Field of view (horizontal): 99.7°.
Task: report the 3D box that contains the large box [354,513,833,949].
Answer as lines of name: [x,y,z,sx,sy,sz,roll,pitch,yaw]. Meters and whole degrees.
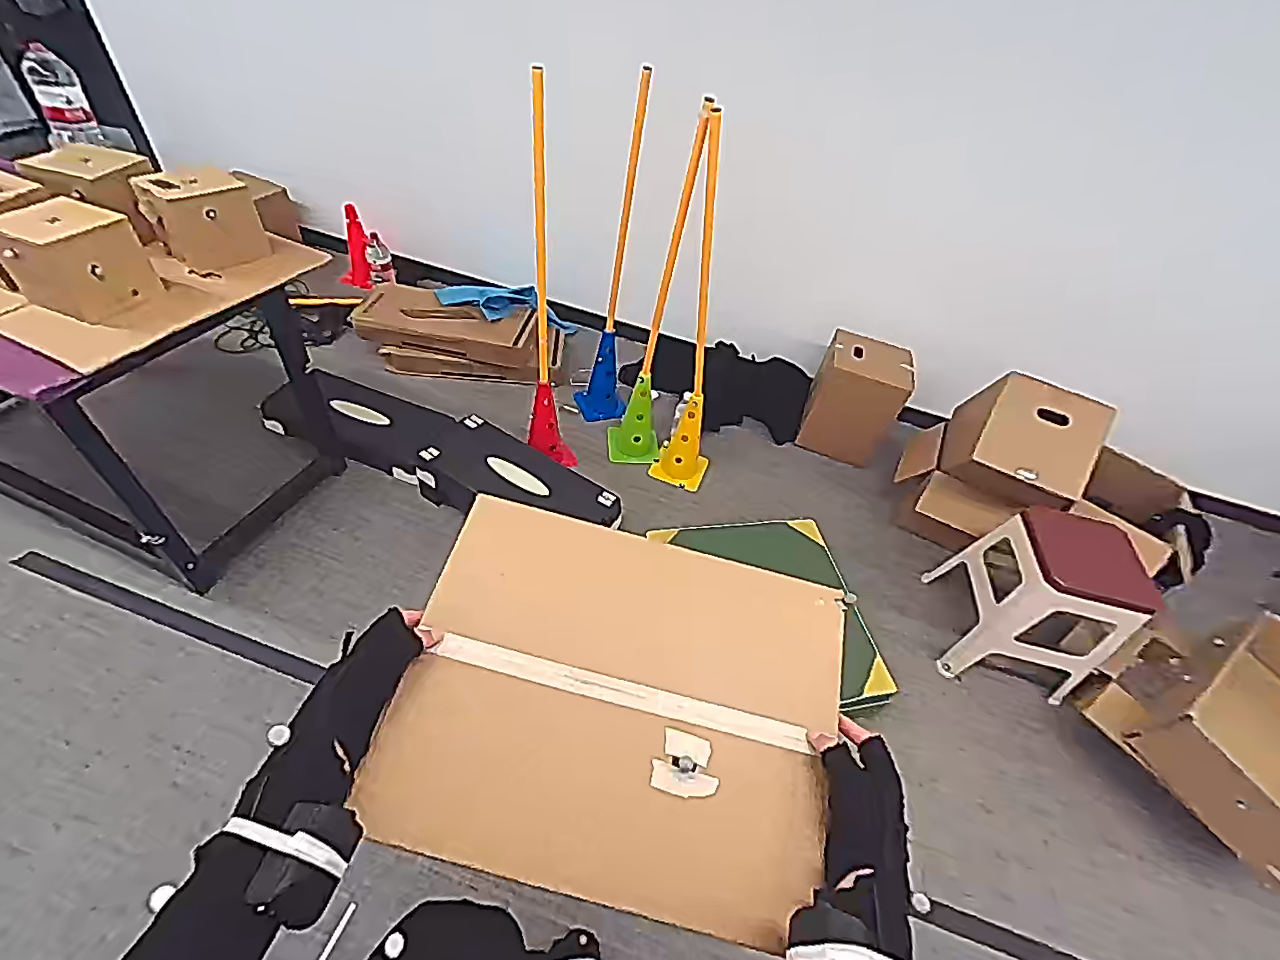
large box: [-0.033,0.280,0.643,0.408,0.320,0.320,15,61,0]
